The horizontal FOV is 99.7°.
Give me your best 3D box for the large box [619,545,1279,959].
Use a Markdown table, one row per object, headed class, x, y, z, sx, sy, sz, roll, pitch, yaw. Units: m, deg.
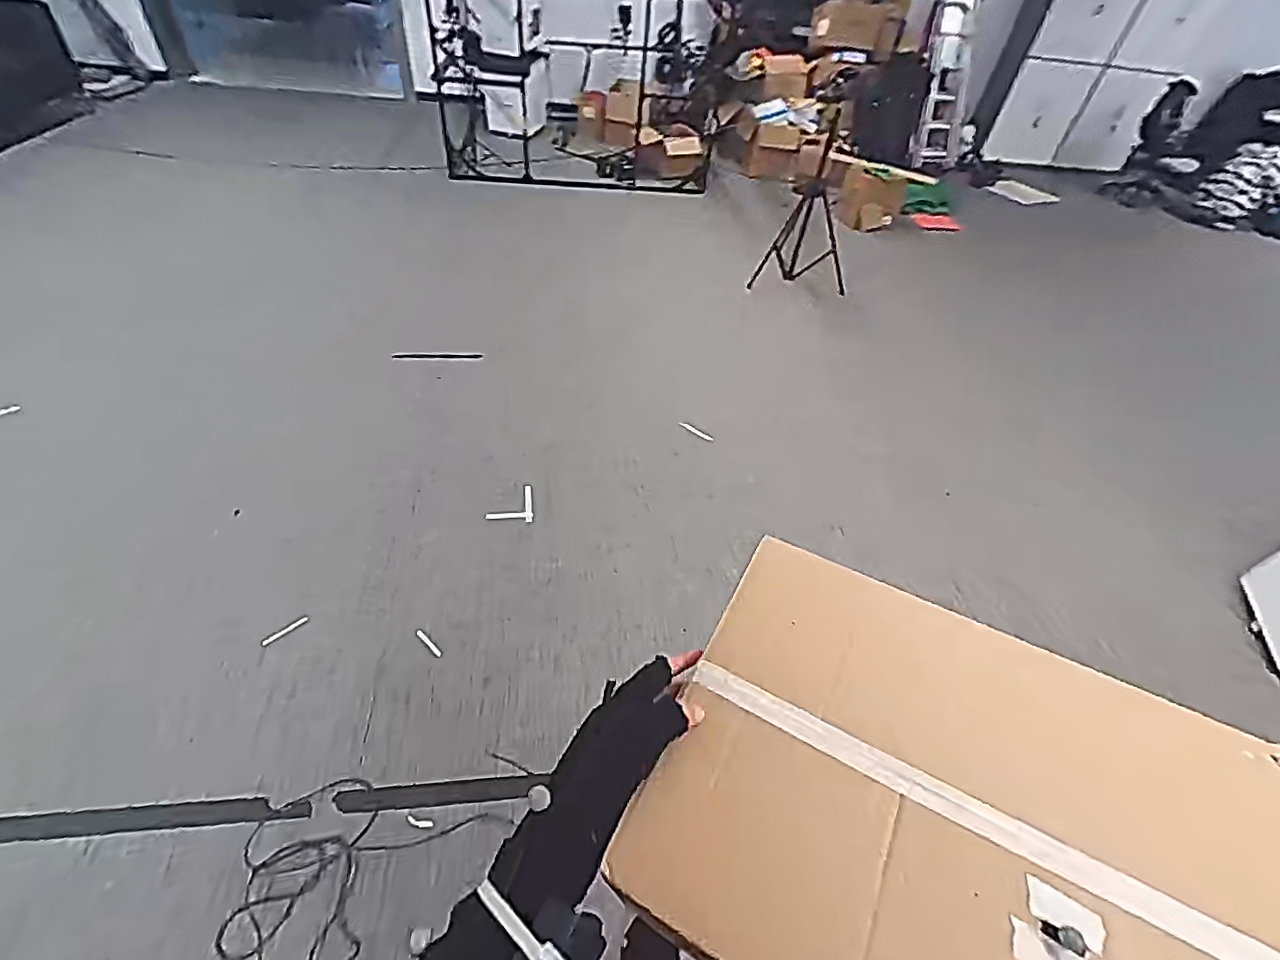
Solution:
| class | x | y | z | sx | sy | sz | roll | pitch | yaw |
| --- | --- | --- | --- | --- | --- | --- | --- | --- | --- |
| large box | 0.229 | 0.330 | 0.506 | 0.408 | 0.320 | 0.320 | 23 | 54 | 20 |
